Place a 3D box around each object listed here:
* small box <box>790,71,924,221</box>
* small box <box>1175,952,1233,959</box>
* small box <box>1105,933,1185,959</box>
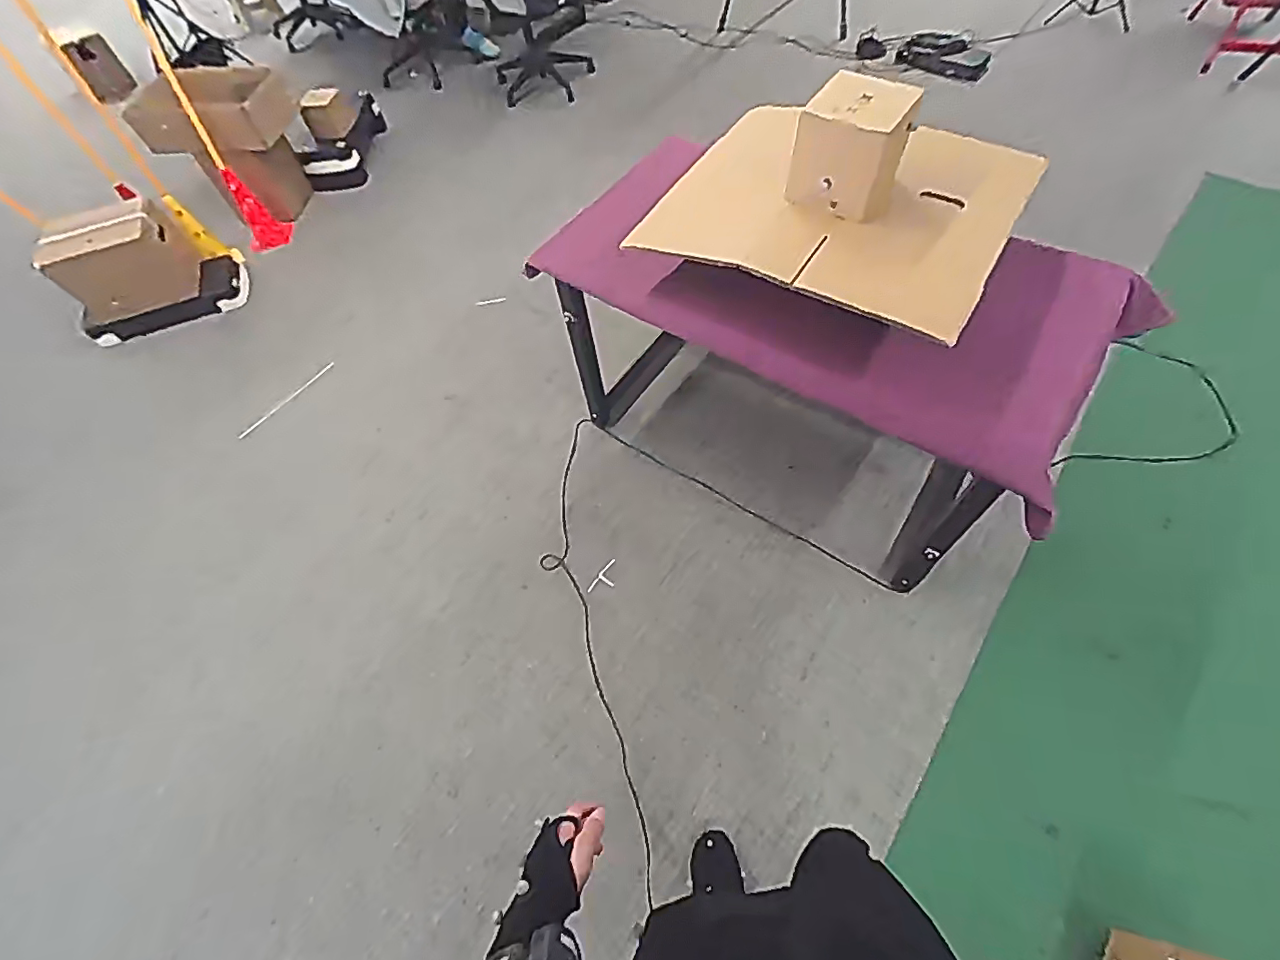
[{"bbox_3d":[0.408,-0.642,1.045,0.168,0.176,0.179,30,67,19],"label":"small box"},{"bbox_3d":[1.026,0.939,0.900,0.179,0.176,0.168,32,67,21],"label":"small box"},{"bbox_3d":[1.039,1.024,1.039,0.179,0.176,0.168,32,66,22],"label":"small box"}]
